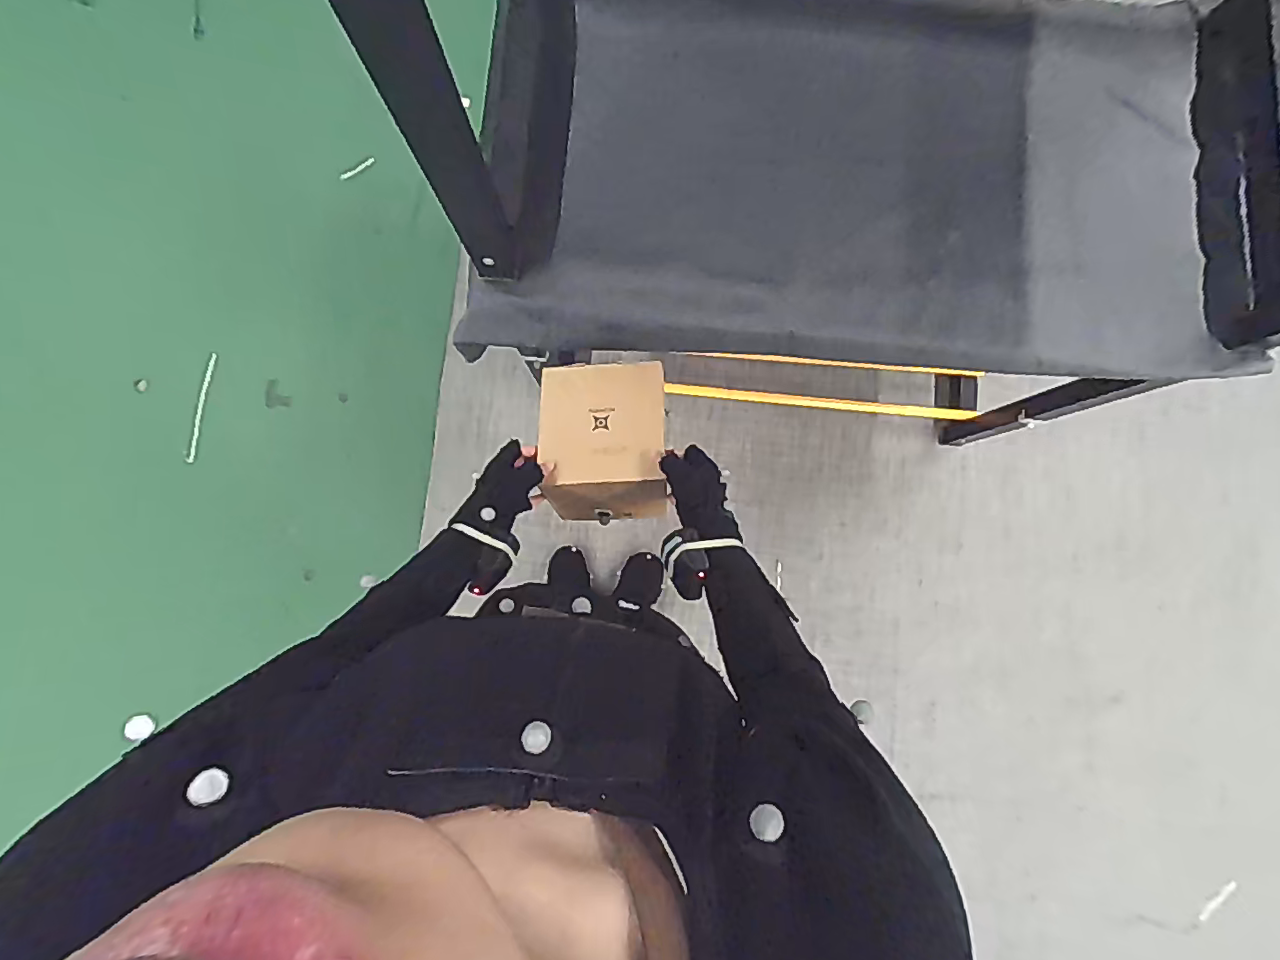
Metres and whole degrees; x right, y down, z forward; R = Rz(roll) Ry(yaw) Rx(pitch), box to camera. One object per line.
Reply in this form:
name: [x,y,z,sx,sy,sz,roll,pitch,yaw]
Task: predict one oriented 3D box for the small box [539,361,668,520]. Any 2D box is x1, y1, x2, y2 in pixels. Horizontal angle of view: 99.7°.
small box: [-0.044,-0.050,0.786,0.168,0.176,0.179,-3,70,4]
